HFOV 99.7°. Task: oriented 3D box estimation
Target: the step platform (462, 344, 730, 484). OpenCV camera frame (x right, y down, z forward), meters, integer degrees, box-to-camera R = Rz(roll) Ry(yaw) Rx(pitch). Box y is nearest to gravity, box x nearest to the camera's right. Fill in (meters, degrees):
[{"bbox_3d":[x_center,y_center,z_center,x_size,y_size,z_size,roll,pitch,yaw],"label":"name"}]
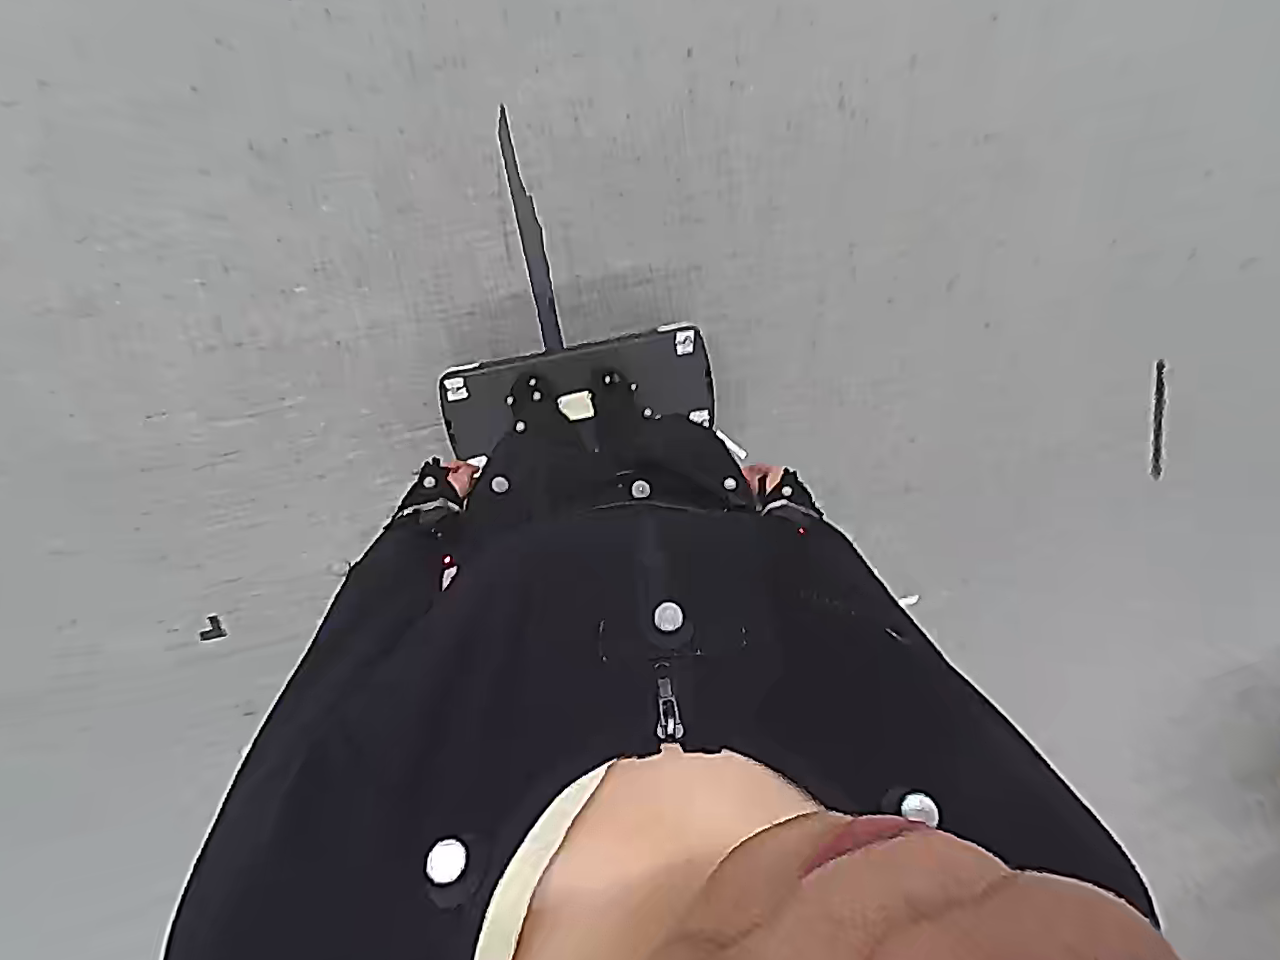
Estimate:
[{"bbox_3d":[-0.108,-0.178,1.422,0.684,0.204,0.286,-8,104,-6],"label":"step platform"}]
